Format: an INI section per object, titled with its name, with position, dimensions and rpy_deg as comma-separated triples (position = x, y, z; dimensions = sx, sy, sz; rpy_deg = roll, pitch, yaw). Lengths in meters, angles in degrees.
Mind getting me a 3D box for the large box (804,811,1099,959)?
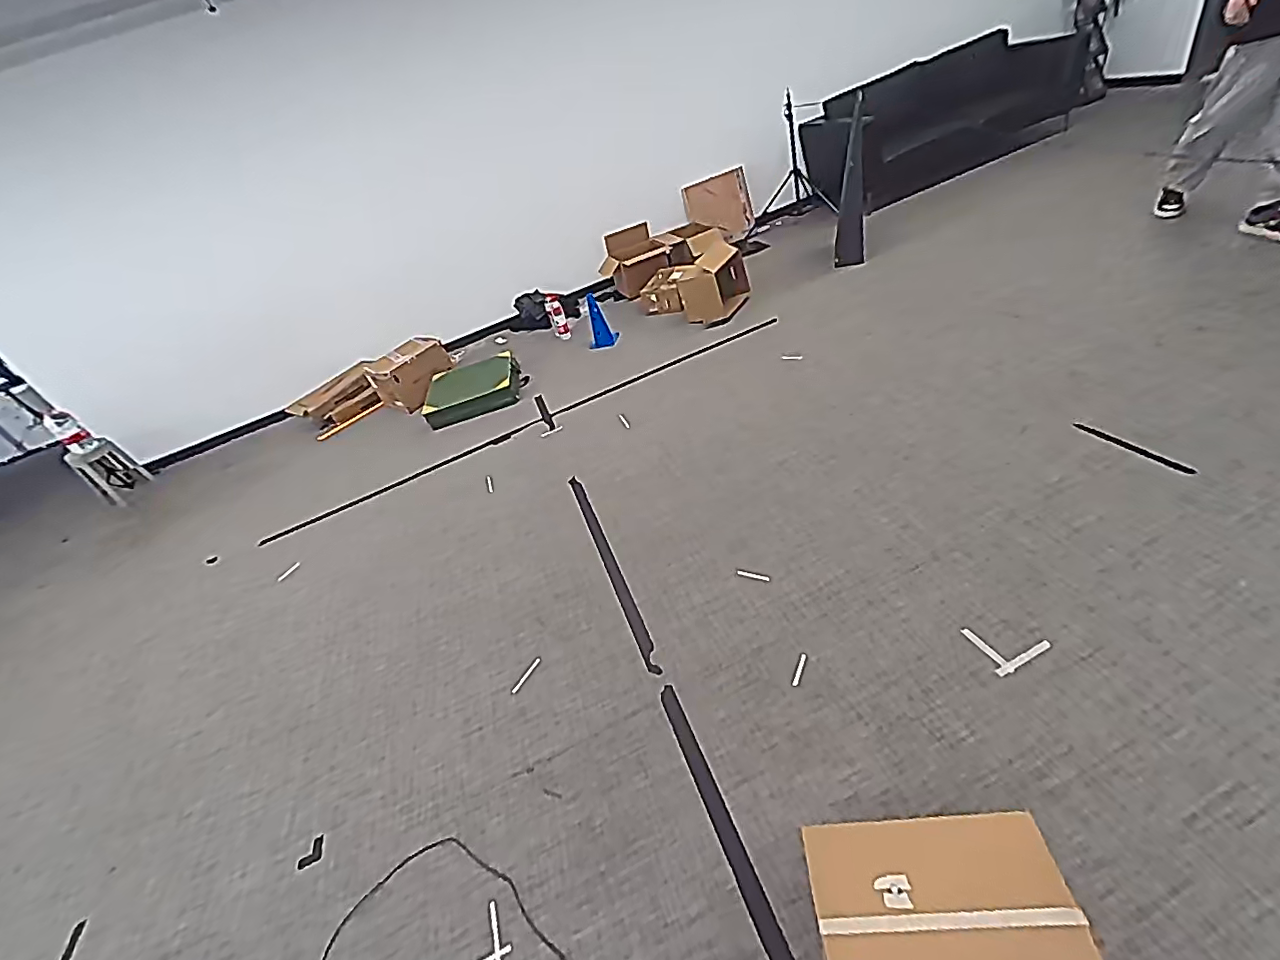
[large box]
position = 0.548, 0.847, 0.979
dimensions = 0.408, 0.320, 0.320
rpy_deg = -13, 35, 11
